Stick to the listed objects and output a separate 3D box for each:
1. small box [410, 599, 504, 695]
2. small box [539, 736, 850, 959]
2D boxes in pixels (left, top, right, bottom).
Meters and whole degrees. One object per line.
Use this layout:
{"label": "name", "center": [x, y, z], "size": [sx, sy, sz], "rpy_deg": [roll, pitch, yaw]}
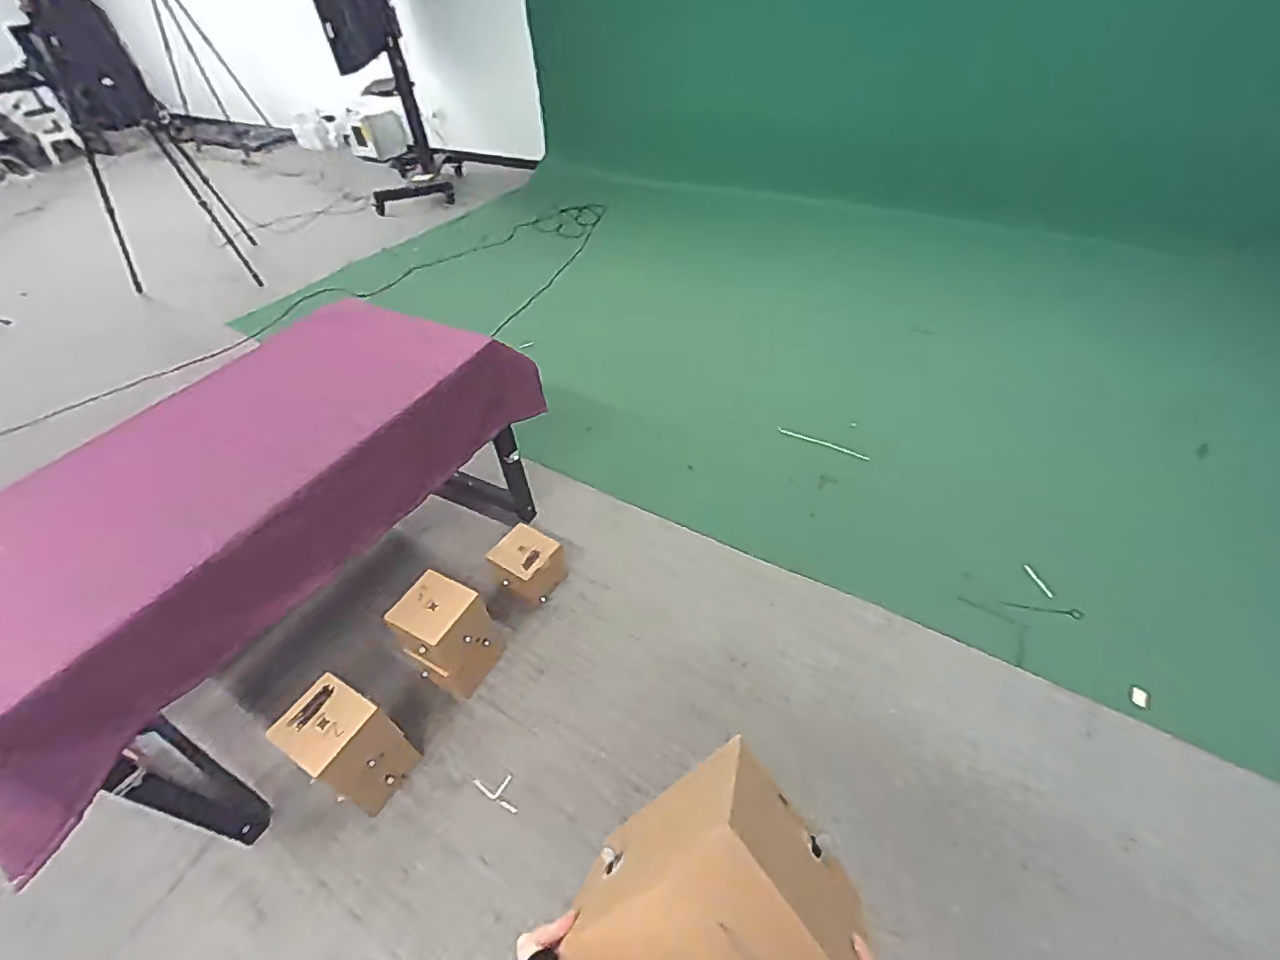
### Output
{"label": "small box", "center": [-0.517, 0.485, 1.557], "size": [0.168, 0.176, 0.179], "rpy_deg": [21, 51, 23]}
{"label": "small box", "center": [0.057, 0.355, 0.447], "size": [0.179, 0.176, 0.168], "rpy_deg": [-42, 78, 8]}
